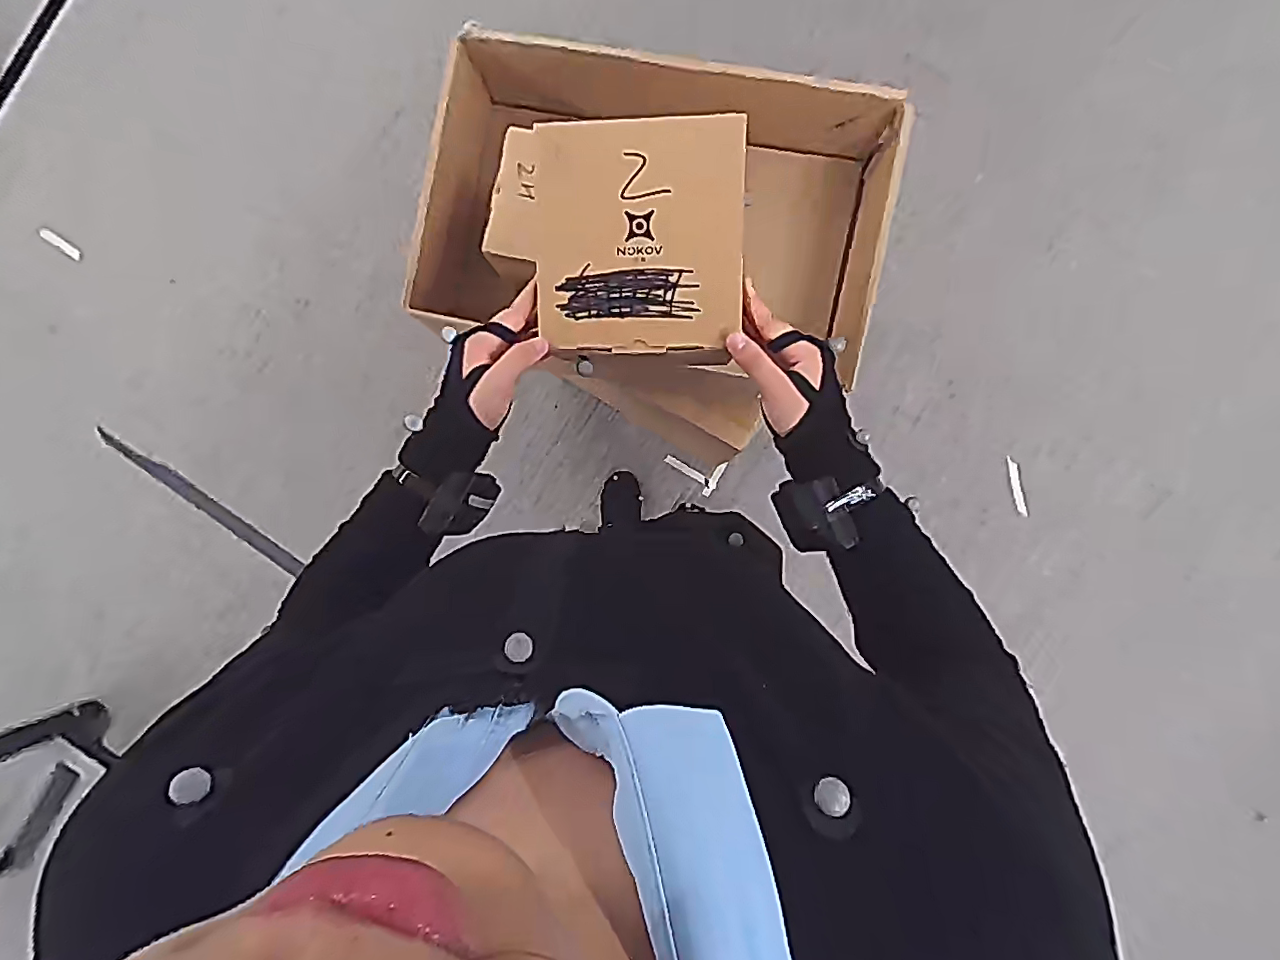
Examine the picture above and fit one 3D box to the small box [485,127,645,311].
[{"bbox_3d":[-0.094,-0.356,0.771,0.179,0.176,0.168,13,91,3],"label":"small box"}]
